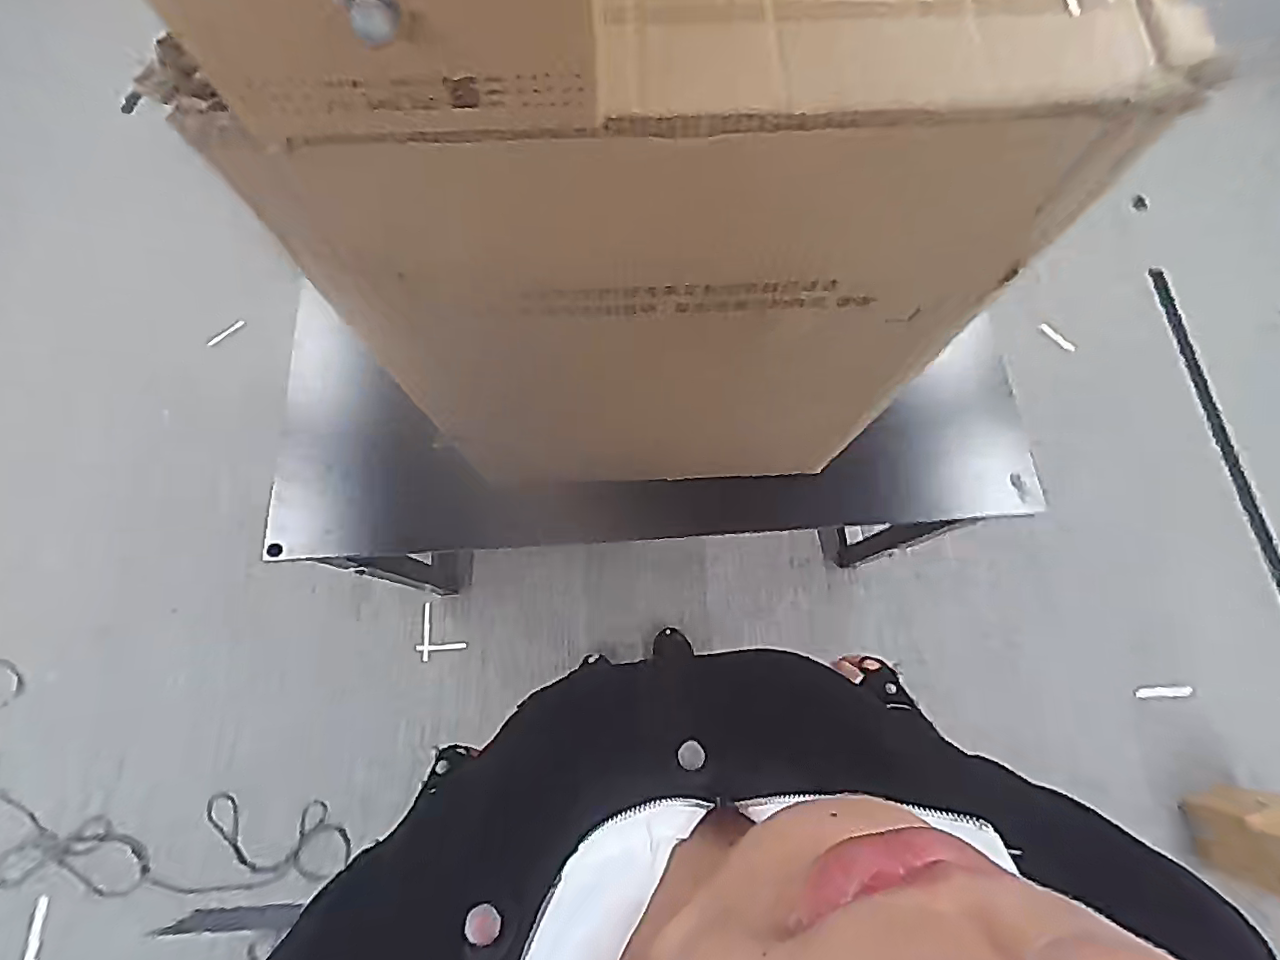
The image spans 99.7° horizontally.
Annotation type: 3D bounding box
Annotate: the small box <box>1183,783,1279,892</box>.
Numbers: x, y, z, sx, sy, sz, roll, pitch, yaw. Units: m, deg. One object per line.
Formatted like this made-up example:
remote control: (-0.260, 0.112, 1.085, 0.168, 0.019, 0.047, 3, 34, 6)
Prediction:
small box: (1.473, 0.837, 1.280, 0.179, 0.176, 0.168, -10, 72, -2)

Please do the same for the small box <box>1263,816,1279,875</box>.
small box: (1.474, 0.805, 1.118, 0.179, 0.176, 0.168, -10, 73, -3)

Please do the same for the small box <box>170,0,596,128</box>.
small box: (-0.104, -0.268, 0.195, 0.168, 0.176, 0.179, -3, 76, -2)
